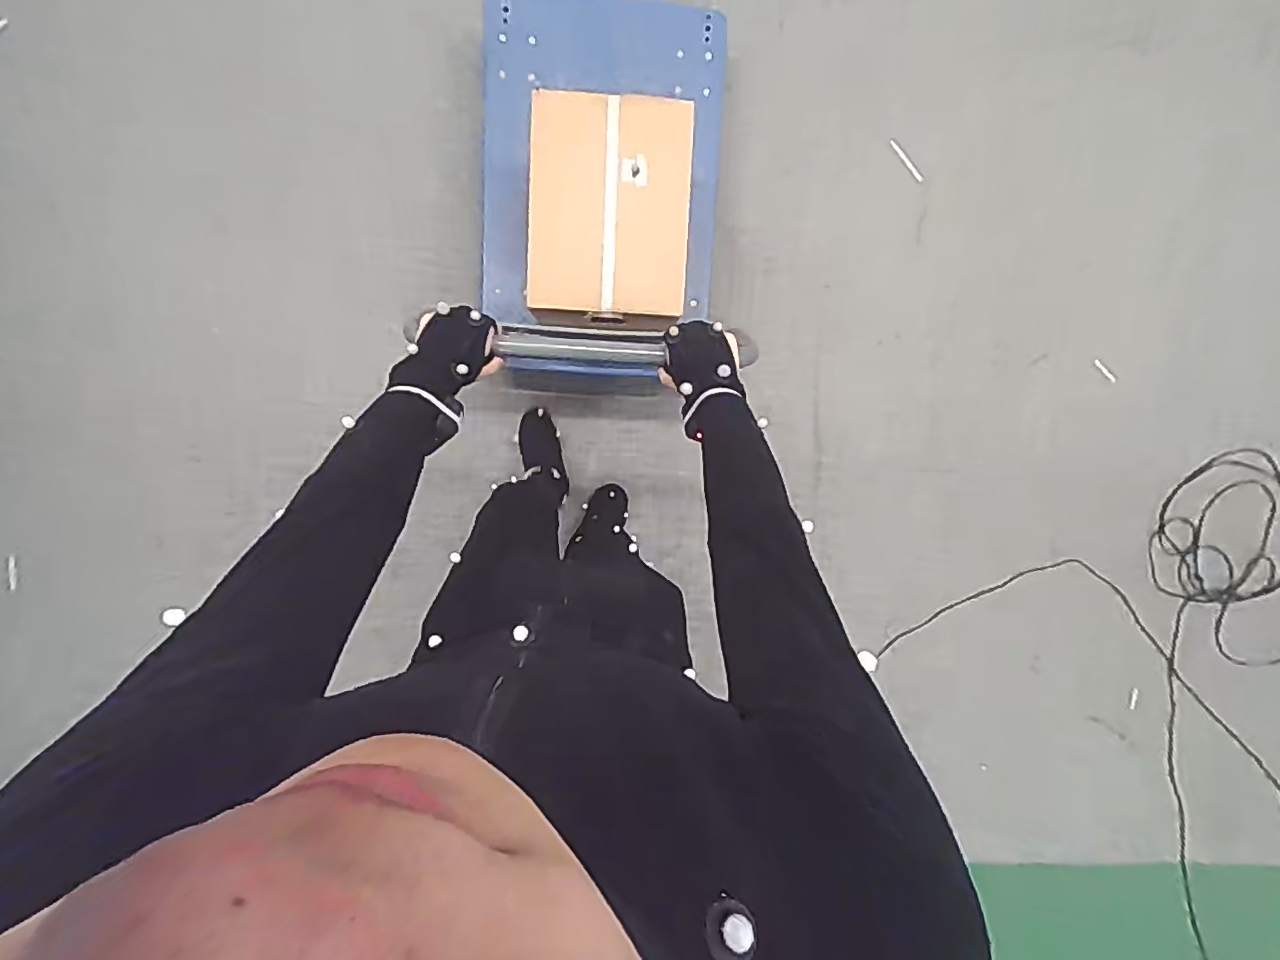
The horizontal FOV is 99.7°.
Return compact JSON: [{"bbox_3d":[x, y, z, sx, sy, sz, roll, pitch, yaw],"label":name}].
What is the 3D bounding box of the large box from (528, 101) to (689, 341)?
[{"bbox_3d":[-0.070,-0.539,1.208,0.320,0.320,0.408,2,95,-4],"label":"large box"}]
